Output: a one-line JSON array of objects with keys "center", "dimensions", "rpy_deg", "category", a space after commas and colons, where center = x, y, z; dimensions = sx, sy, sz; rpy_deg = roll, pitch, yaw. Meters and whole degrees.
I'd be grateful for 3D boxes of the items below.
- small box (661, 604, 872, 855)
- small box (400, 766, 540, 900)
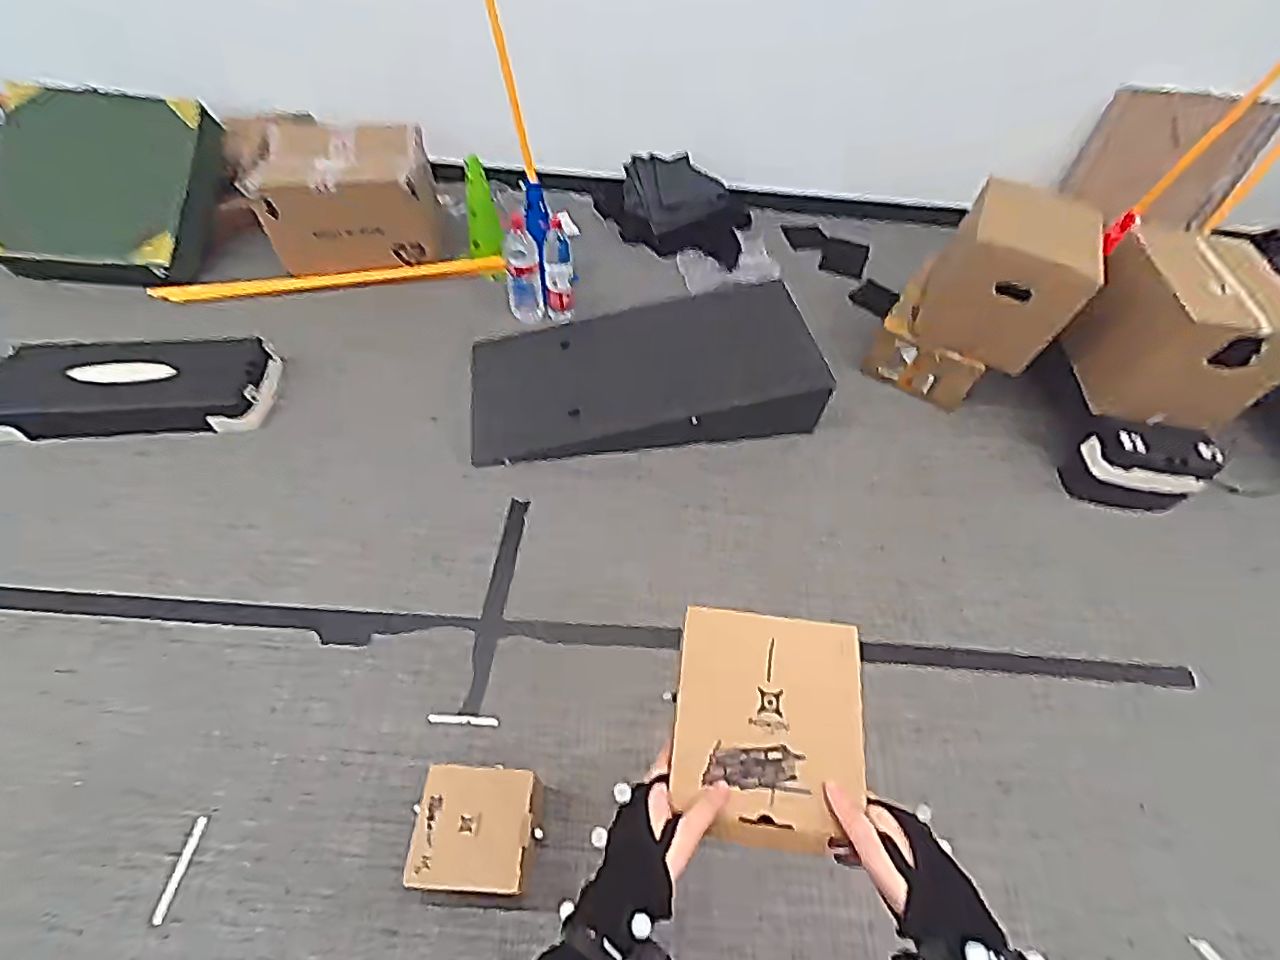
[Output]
[{"center": [0.114, 0.237, 0.529], "dimensions": [0.168, 0.176, 0.179], "rpy_deg": [6, 63, 6], "category": "small box"}, {"center": [-0.268, 0.588, 0.904], "dimensions": [0.179, 0.176, 0.168], "rpy_deg": [6, 54, -1], "category": "small box"}]
